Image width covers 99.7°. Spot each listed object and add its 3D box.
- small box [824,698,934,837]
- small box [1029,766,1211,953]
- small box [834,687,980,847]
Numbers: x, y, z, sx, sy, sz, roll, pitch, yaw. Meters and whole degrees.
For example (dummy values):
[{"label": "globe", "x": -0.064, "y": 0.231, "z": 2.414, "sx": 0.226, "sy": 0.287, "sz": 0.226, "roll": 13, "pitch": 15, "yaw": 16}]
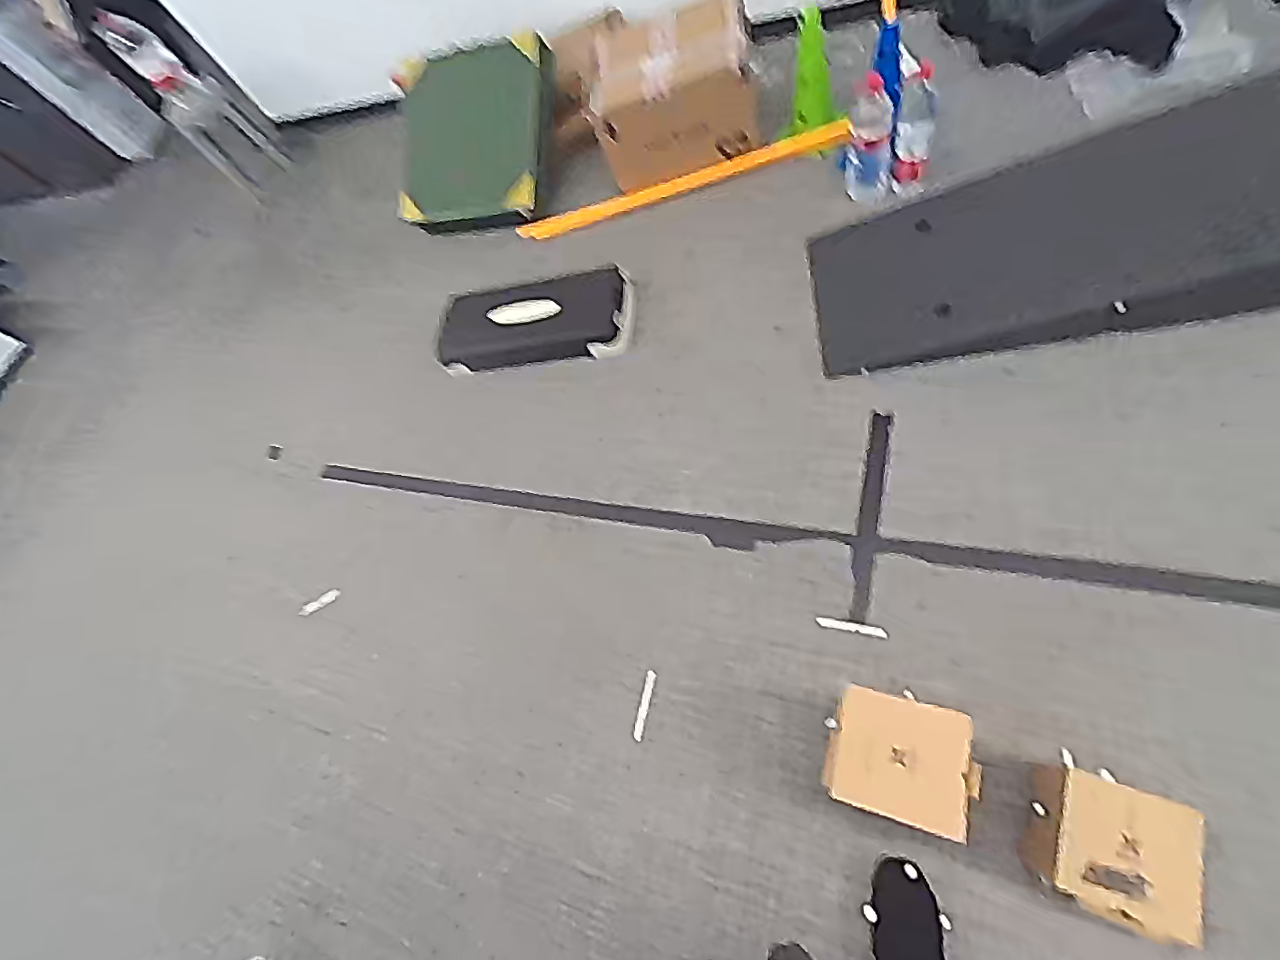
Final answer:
[{"label": "small box", "x": 0.446, "y": 0.511, "z": 0.989, "sx": 0.179, "sy": 0.176, "sz": 0.168, "roll": 14, "pitch": 72, "yaw": 23}, {"label": "small box", "x": 0.743, "y": 0.578, "z": 0.854, "sx": 0.168, "sy": 0.176, "sz": 0.179, "roll": 14, "pitch": 71, "yaw": 24}, {"label": "small box", "x": 0.408, "y": 0.436, "z": 0.847, "sx": 0.179, "sy": 0.176, "sz": 0.168, "roll": 9, "pitch": 69, "yaw": 23}]
